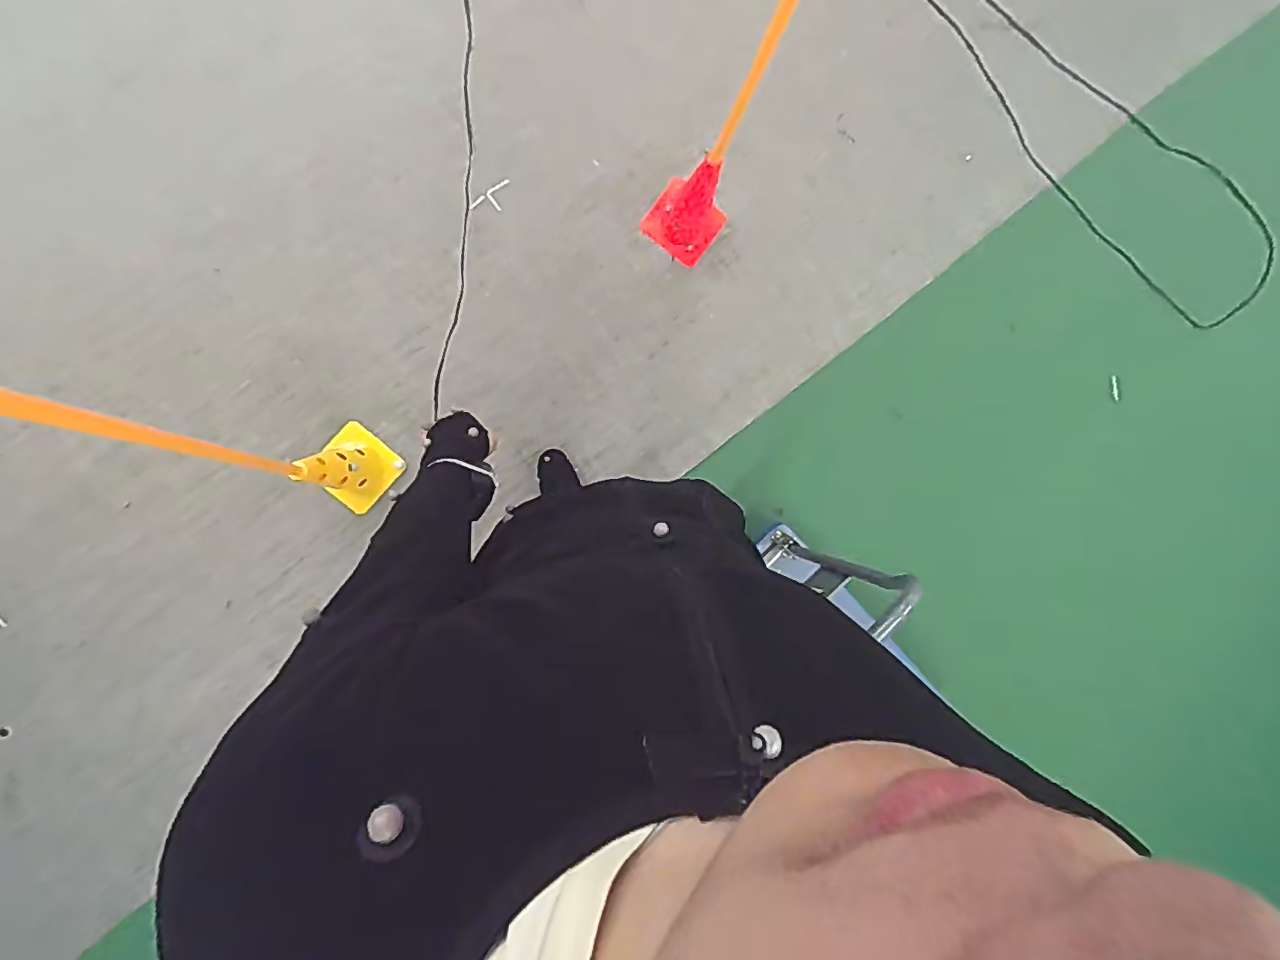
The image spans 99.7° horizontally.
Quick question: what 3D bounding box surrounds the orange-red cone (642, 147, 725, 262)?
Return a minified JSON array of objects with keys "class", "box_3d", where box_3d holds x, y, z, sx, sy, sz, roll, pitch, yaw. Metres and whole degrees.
[{"class":"orange-red cone","box_3d":[0.155,-0.767,1.432,0.198,0.360,0.199,38,86,-8]}]
